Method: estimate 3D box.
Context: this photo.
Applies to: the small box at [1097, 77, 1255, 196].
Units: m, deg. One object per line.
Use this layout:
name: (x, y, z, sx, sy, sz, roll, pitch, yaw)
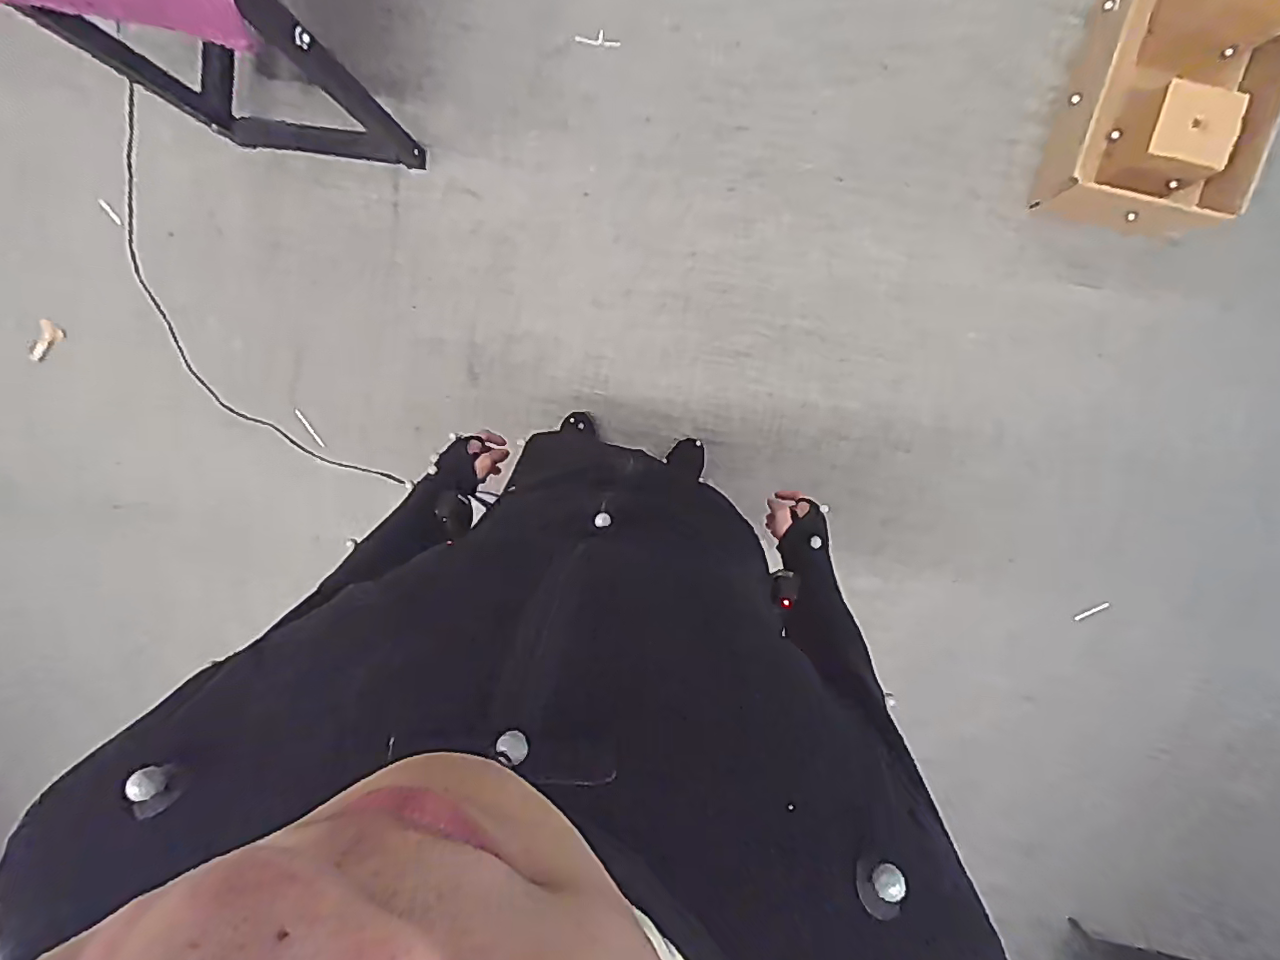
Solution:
small box: (1.258, -0.803, 1.283, 0.179, 0.176, 0.168, 15, 97, 3)
